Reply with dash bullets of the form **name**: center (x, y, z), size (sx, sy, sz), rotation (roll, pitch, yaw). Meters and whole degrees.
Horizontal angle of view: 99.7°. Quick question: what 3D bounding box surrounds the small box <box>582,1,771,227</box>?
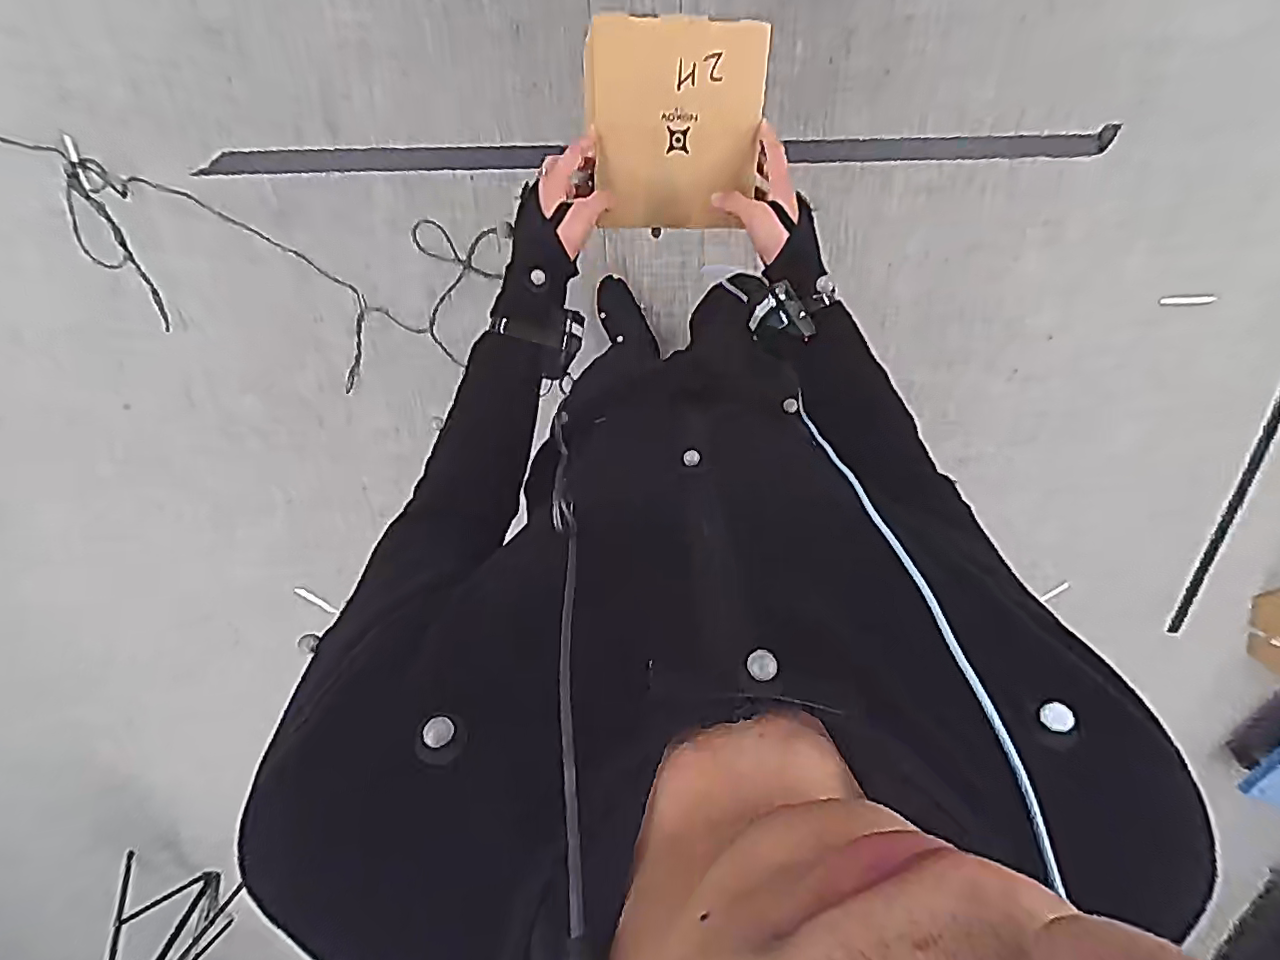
- **small box**: center (0.025, -0.379, 0.587), size (0.168, 0.176, 0.179), rotation (-3, 119, -8)
